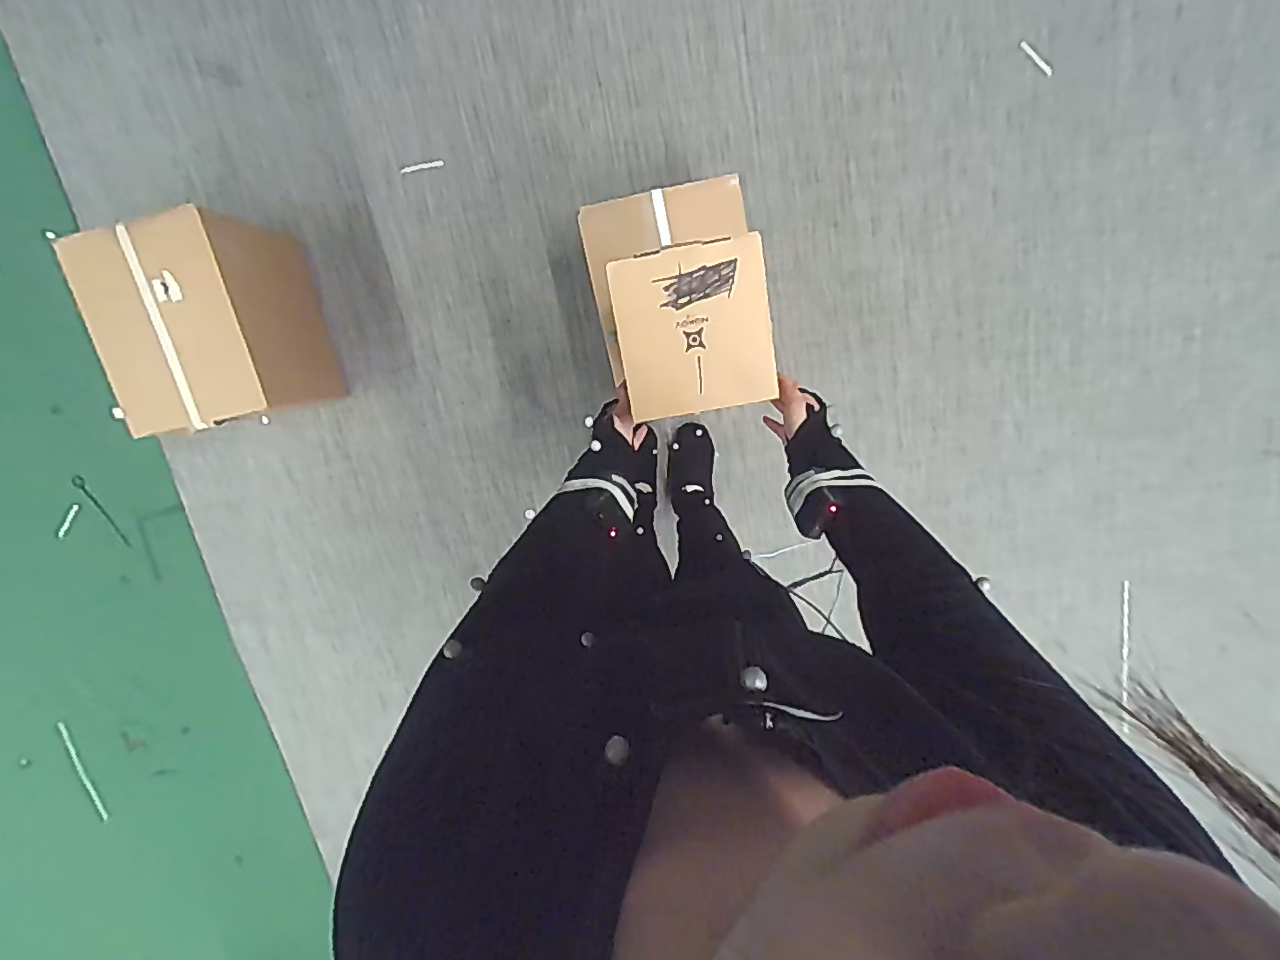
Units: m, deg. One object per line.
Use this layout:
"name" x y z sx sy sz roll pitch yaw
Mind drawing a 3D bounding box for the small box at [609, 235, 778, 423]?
"small box" 0.061 -0.178 0.658 0.168 0.176 0.179 -9 105 5

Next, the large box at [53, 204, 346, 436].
"large box" -0.951 -0.341 1.227 0.320 0.320 0.408 -11 102 4
